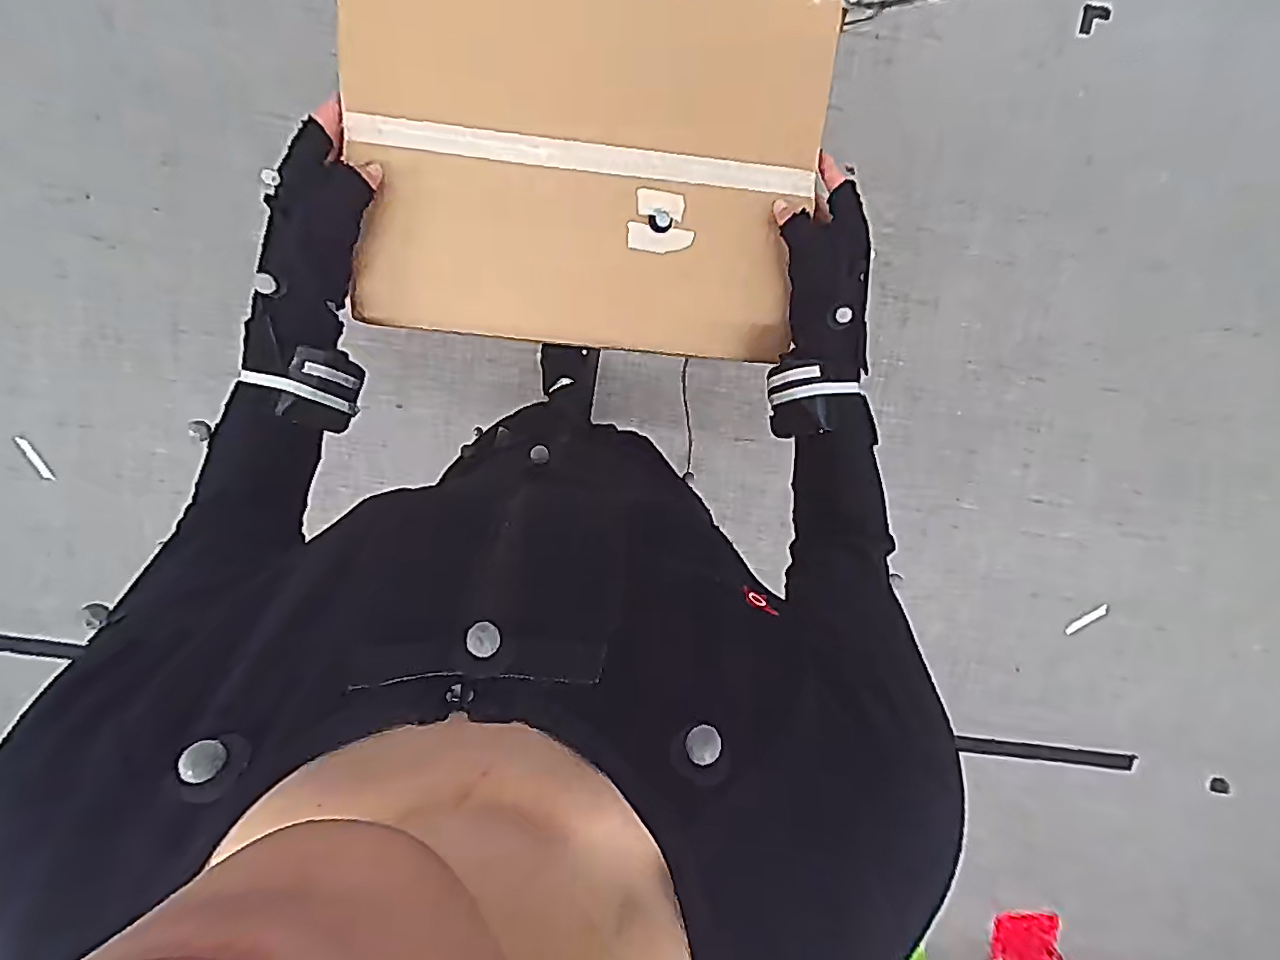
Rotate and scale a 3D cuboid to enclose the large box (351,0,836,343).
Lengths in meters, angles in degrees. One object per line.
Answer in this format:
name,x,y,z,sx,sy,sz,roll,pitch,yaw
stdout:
large box,-0.055,-0.328,0.614,0.408,0.320,0.320,4,105,-6
